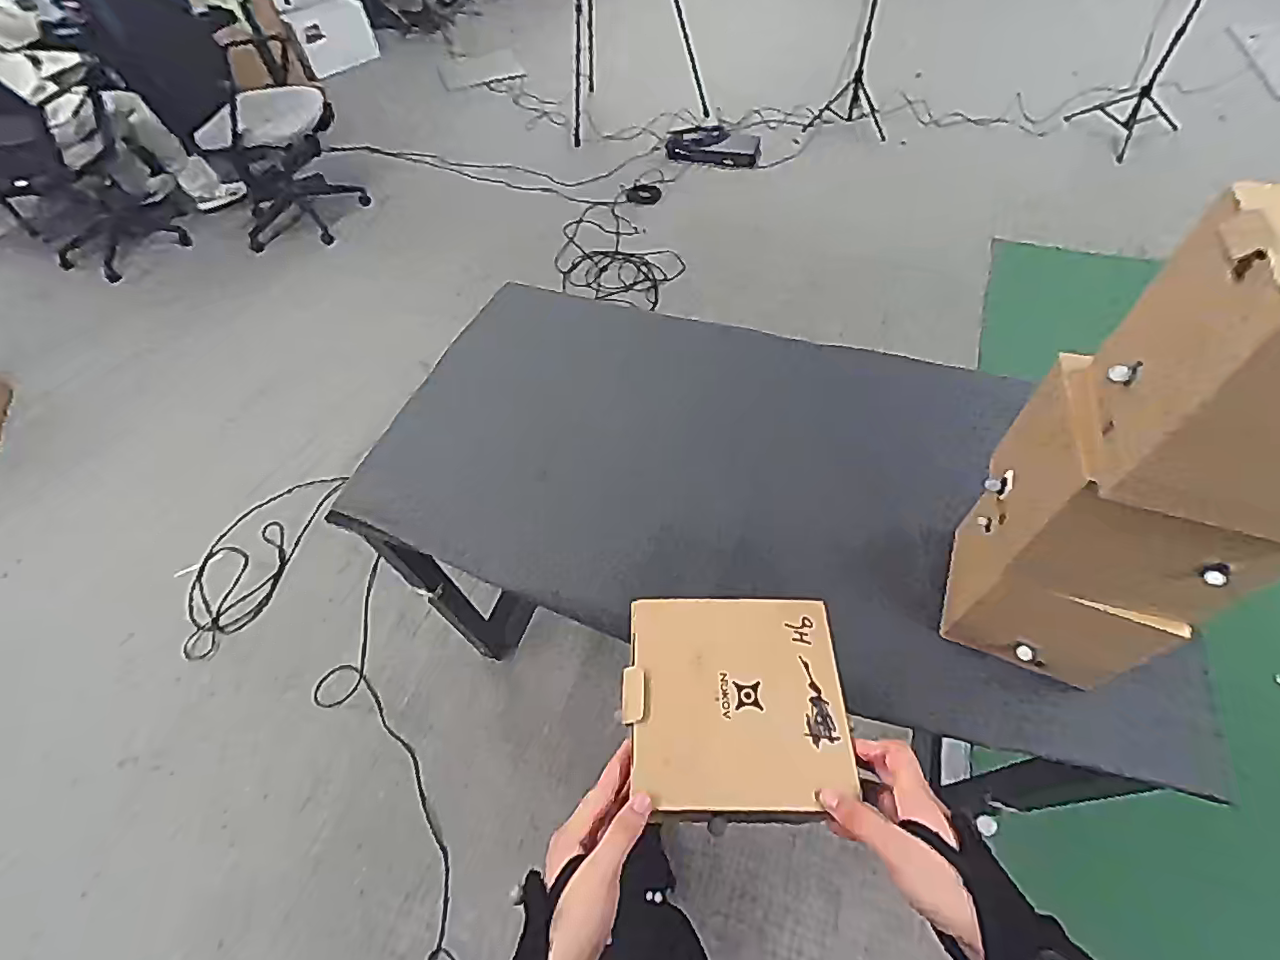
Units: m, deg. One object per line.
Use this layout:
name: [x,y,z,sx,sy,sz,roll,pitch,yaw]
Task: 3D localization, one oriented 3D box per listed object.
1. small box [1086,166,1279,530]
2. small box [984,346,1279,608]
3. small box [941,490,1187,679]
small box: [0.450,-0.079,0.362,0.179,0.176,0.168,16,55,17]
small box: [0.456,0.001,0.509,0.179,0.176,0.168,11,53,15]
small box: [0.478,0.101,0.635,0.168,0.176,0.179,19,57,19]
